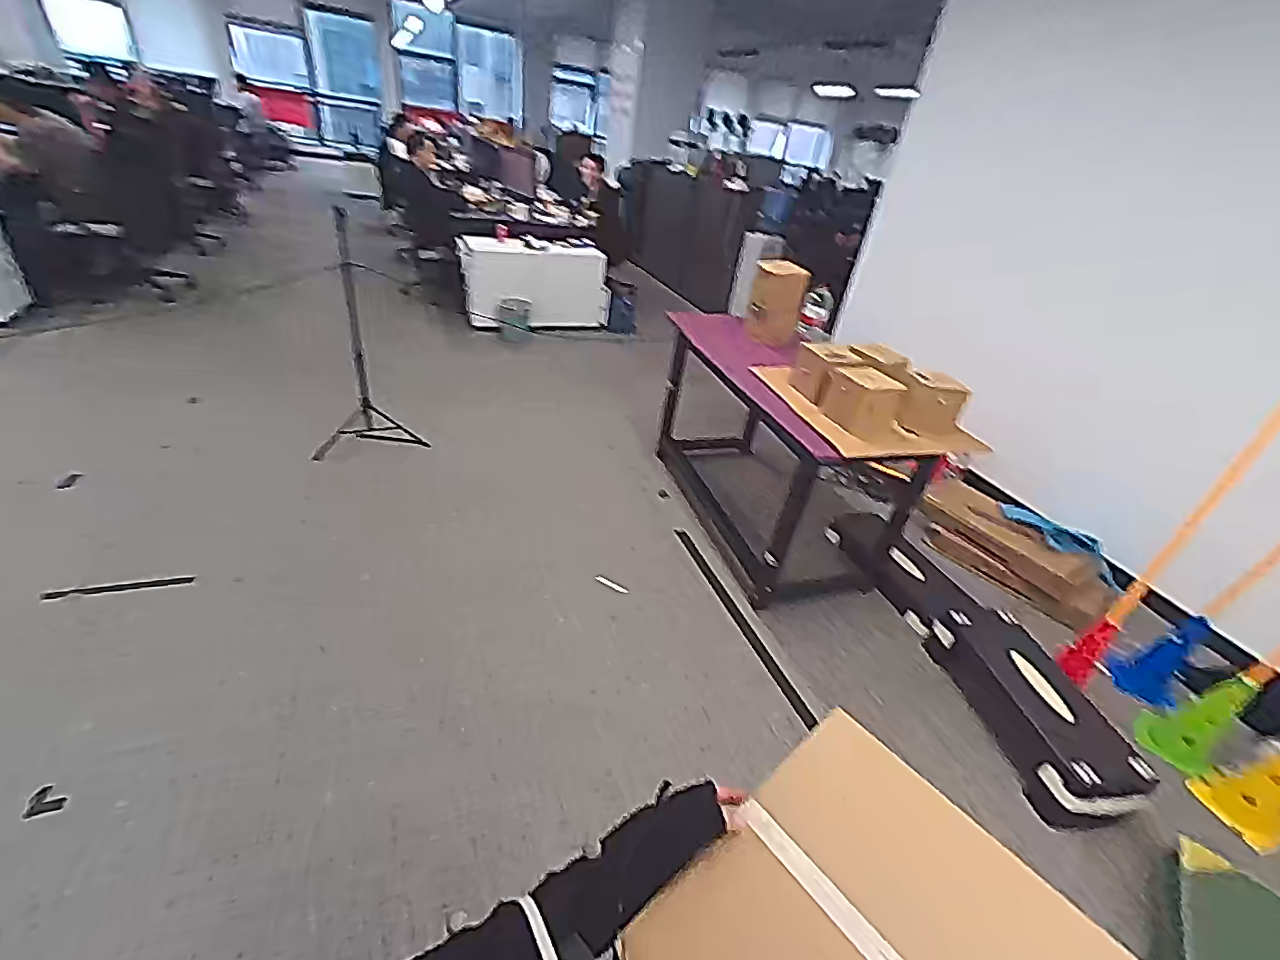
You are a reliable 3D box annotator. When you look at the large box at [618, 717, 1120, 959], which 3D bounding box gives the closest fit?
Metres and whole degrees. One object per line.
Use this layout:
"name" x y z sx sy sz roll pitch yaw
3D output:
"large box" 0.212 0.522 0.484 0.320 0.320 0.408 -25 46 -34
